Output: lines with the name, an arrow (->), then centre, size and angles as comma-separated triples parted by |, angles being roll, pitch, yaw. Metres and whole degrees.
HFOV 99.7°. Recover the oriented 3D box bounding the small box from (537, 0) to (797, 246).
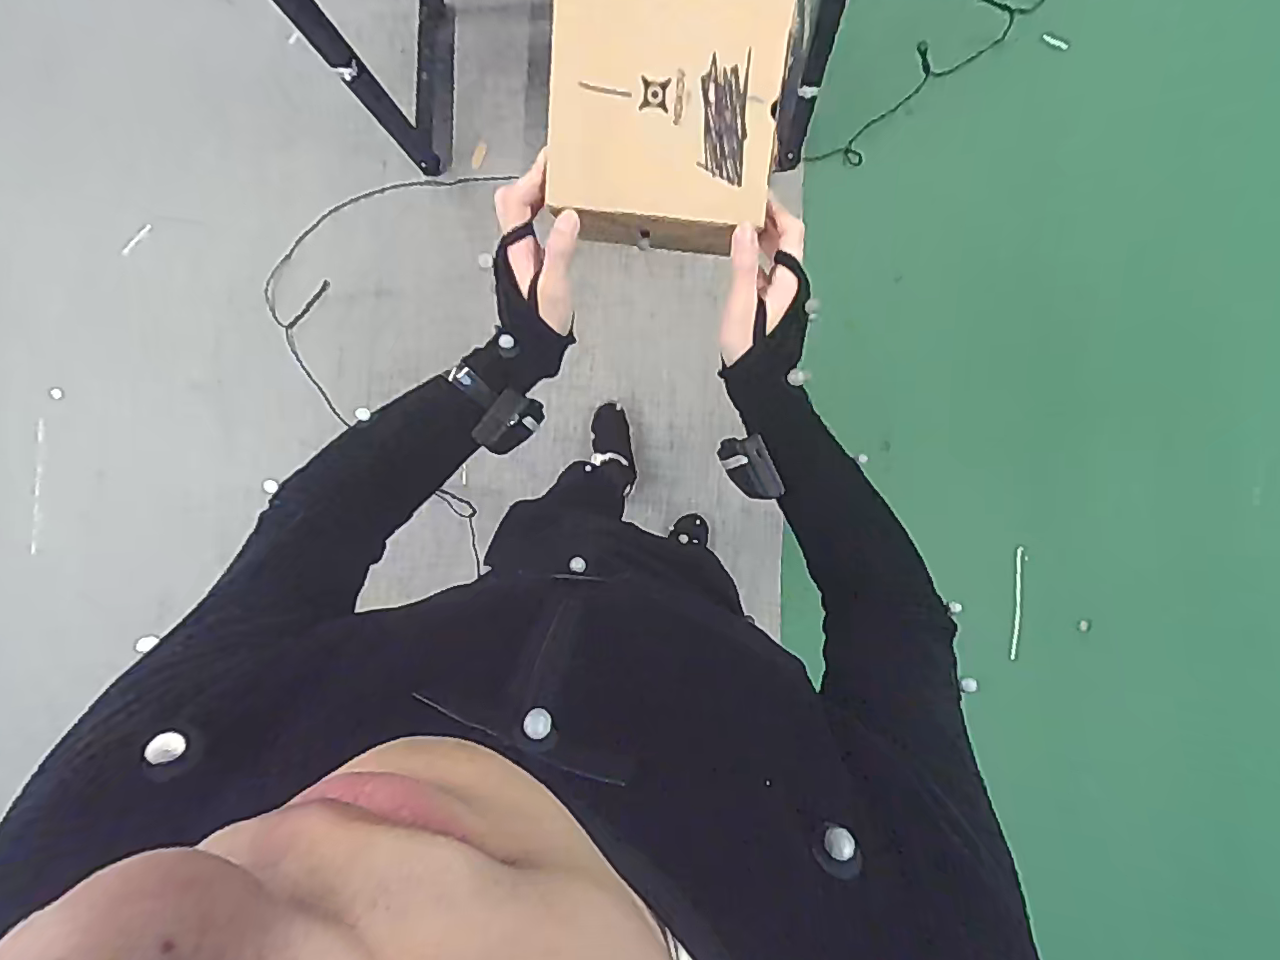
small box -> 0.017, -0.307, 0.468 | 0.179, 0.176, 0.168 | 6, 105, 0
